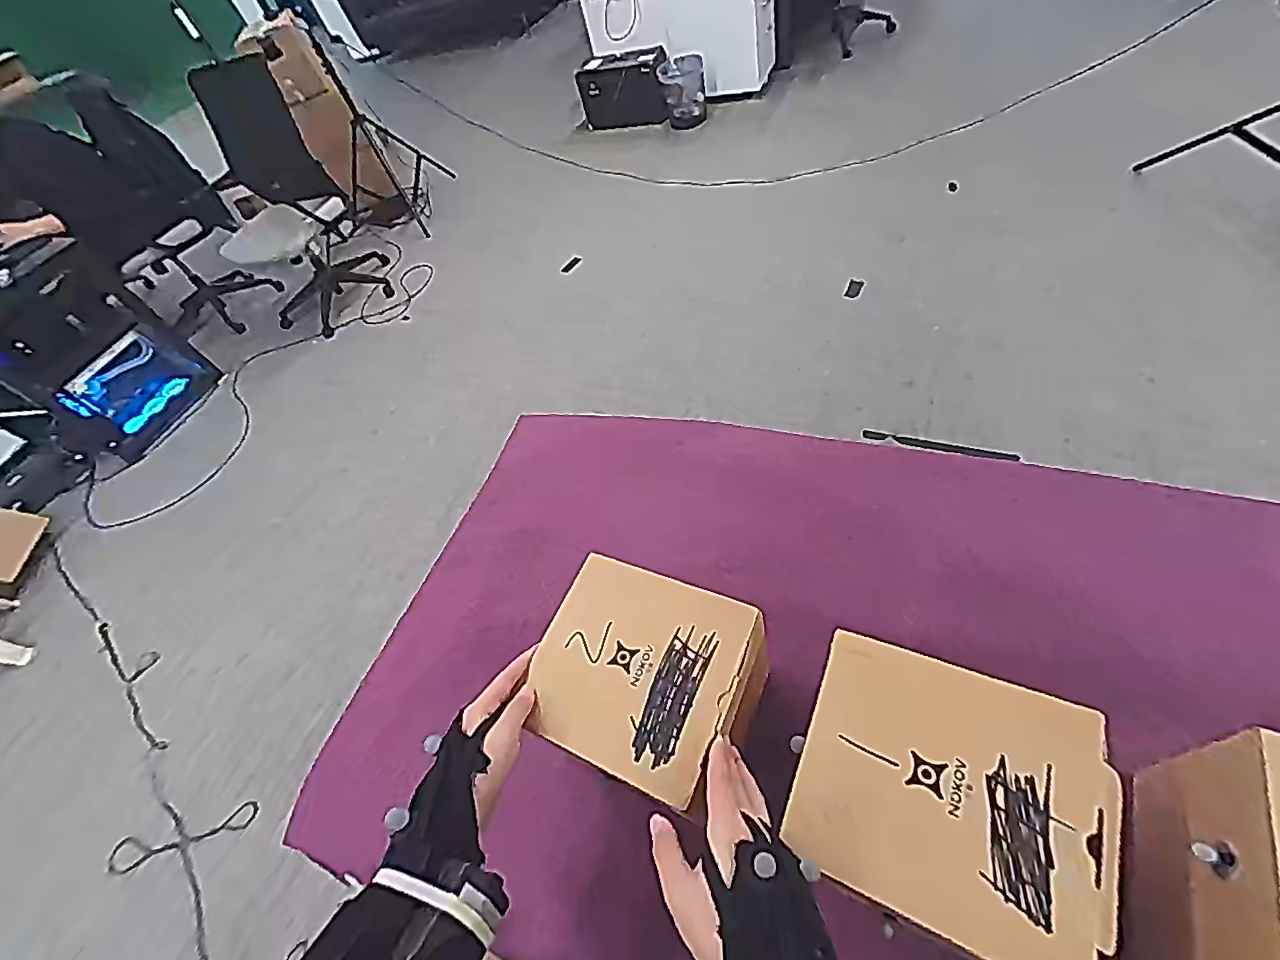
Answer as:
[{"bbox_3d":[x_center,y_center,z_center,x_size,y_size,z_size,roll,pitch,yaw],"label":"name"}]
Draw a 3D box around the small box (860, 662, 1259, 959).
[{"bbox_3d":[0.270,0.245,0.390,0.179,0.176,0.168,-7,92,17],"label":"small box"}]
